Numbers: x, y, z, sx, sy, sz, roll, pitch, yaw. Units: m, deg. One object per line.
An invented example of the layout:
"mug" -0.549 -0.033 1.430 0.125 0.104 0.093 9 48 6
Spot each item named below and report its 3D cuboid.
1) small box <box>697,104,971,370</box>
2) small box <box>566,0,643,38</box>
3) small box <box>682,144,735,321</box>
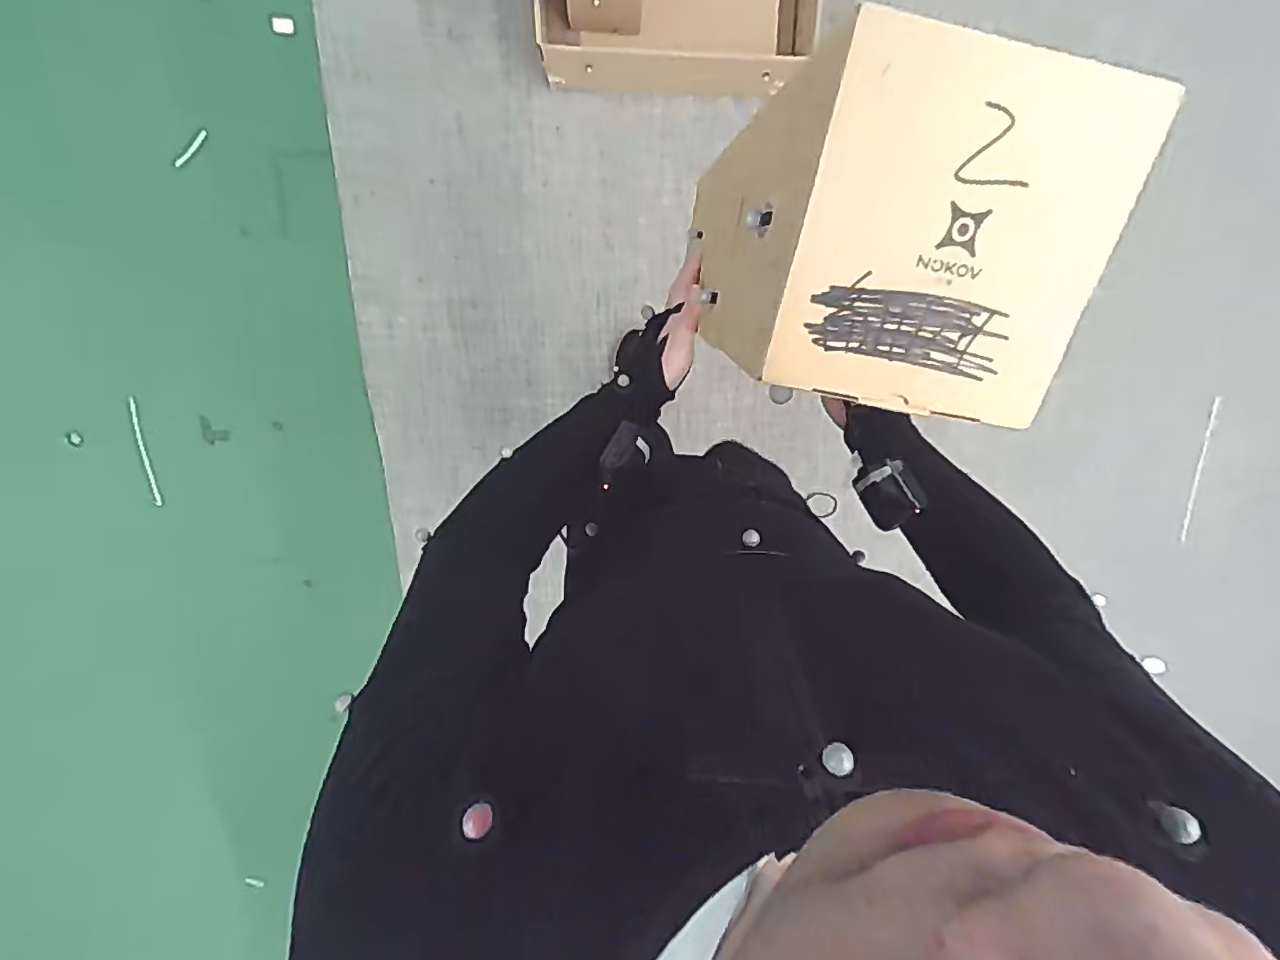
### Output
"small box" 0.155 -0.214 0.503 0.168 0.176 0.179 6 113 -5
"small box" -0.075 -1.103 1.163 0.168 0.176 0.179 1 105 -4
"small box" 0.150 -0.274 0.652 0.168 0.176 0.179 8 111 -5
